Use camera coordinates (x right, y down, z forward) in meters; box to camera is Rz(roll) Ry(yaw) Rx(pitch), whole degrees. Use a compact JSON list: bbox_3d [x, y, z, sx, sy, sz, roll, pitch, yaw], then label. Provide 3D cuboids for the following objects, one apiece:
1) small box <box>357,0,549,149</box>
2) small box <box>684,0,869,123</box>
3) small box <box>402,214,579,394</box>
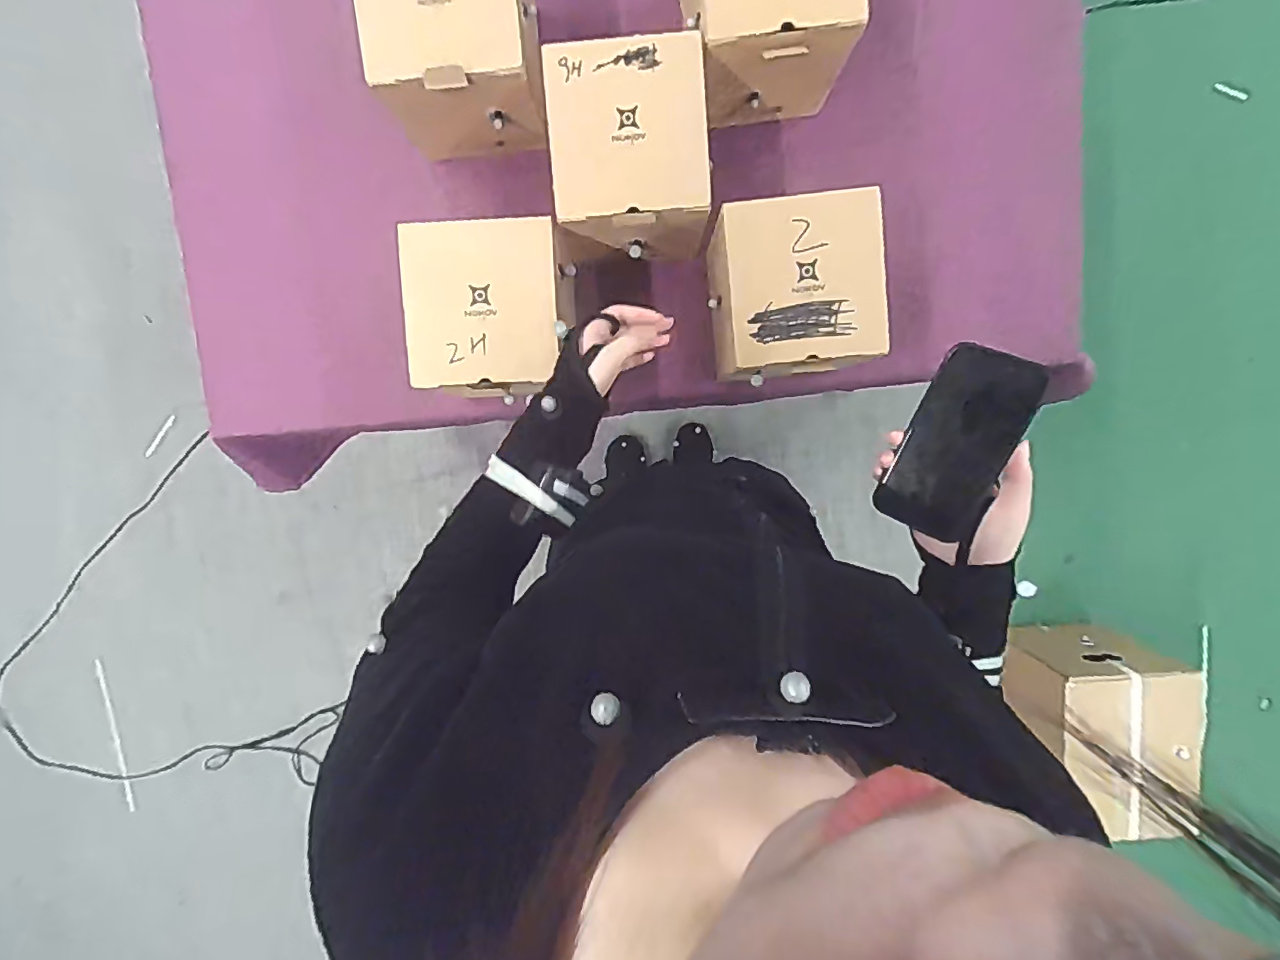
[{"bbox_3d":[-0.206,-0.509,0.625,0.168,0.176,0.179,-5,96,0],"label":"small box"},{"bbox_3d":[0.141,-0.550,0.614,0.168,0.176,0.179,-7,97,2],"label":"small box"},{"bbox_3d":[-0.168,-0.200,0.658,0.168,0.176,0.179,-2,96,2],"label":"small box"}]
